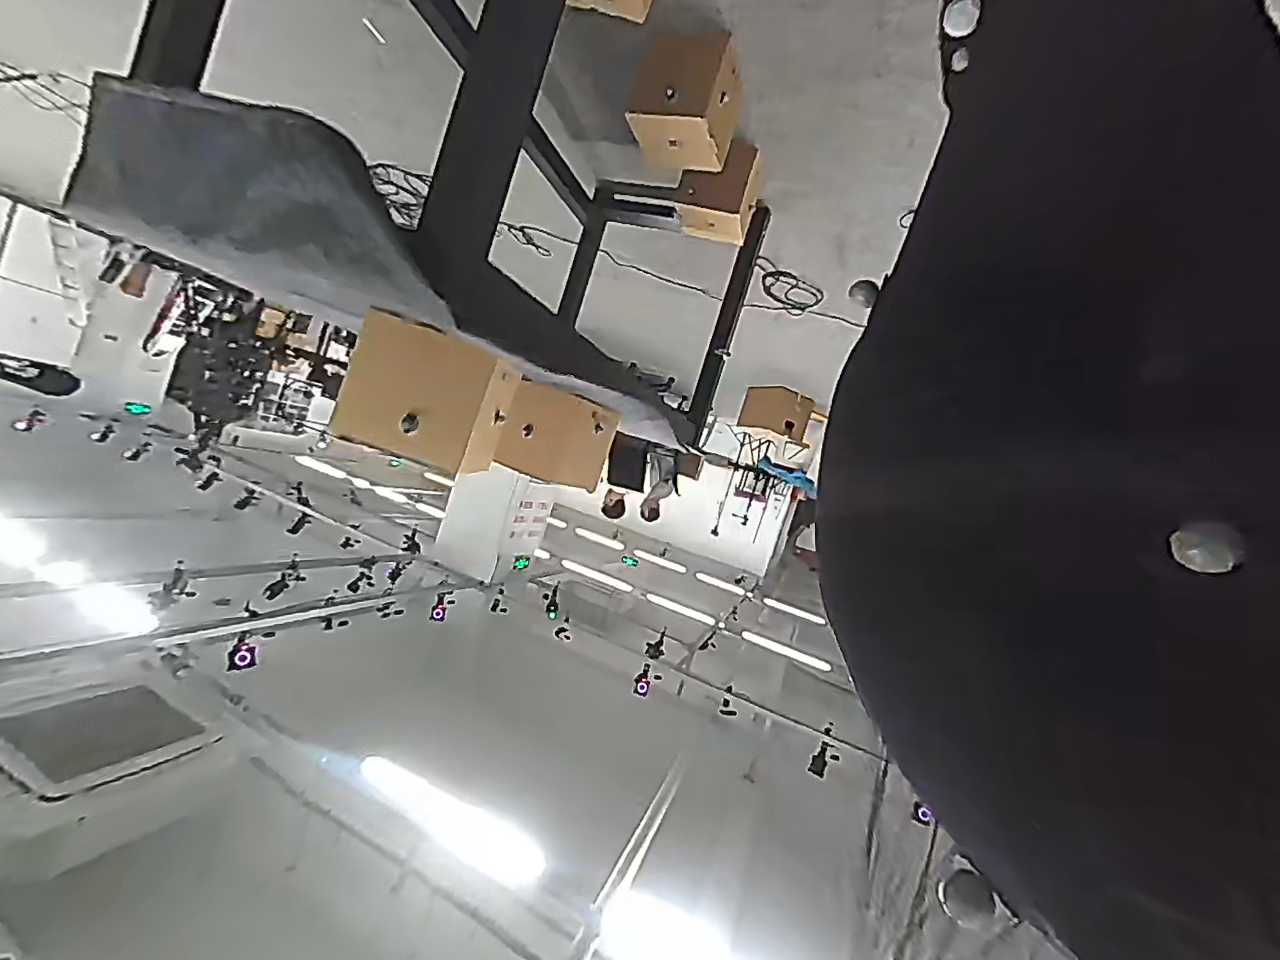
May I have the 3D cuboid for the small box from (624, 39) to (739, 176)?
[{"bbox_3d":[0.094,-0.764,1.115,0.179,0.176,0.168,19,-179,20],"label":"small box"}]

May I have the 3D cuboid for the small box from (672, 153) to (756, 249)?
[{"bbox_3d":[0.200,-0.737,1.414,0.179,0.176,0.168,19,-178,14],"label":"small box"}]

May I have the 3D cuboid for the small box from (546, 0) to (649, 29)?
[{"bbox_3d":[-0.051,-0.803,0.757,0.168,0.176,0.179,18,180,5],"label":"small box"}]

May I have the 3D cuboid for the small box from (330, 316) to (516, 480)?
[{"bbox_3d":[-0.286,-0.110,0.758,0.179,0.176,0.168,20,-179,-3],"label":"small box"}]
